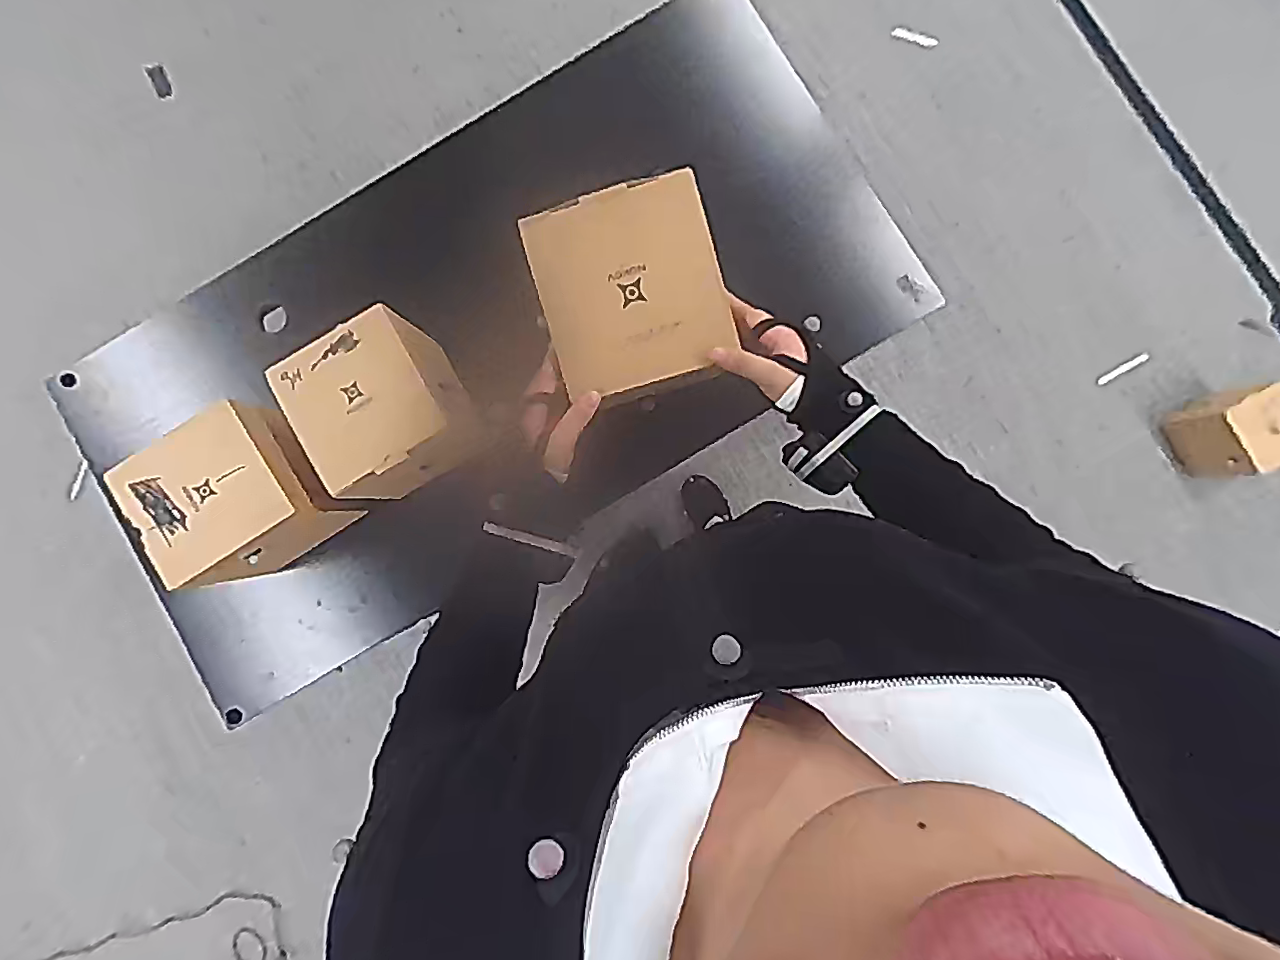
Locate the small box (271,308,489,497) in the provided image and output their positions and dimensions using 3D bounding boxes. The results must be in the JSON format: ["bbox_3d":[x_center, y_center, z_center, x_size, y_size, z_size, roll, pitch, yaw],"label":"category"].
[{"bbox_3d":[-0.329,-0.092,0.724,0.168,0.176,0.179,-30,87,1],"label":"small box"}]

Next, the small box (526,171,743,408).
[{"bbox_3d":[-0.005,-0.183,0.576,0.168,0.176,0.179,-16,95,3],"label":"small box"}]

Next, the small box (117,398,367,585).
[{"bbox_3d":[-0.514,0.019,0.725,0.179,0.176,0.168,-33,87,0],"label":"small box"}]

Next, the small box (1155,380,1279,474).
[{"bbox_3d":[1.493,-0.126,1.375,0.168,0.176,0.179,-29,87,1],"label":"small box"}]
